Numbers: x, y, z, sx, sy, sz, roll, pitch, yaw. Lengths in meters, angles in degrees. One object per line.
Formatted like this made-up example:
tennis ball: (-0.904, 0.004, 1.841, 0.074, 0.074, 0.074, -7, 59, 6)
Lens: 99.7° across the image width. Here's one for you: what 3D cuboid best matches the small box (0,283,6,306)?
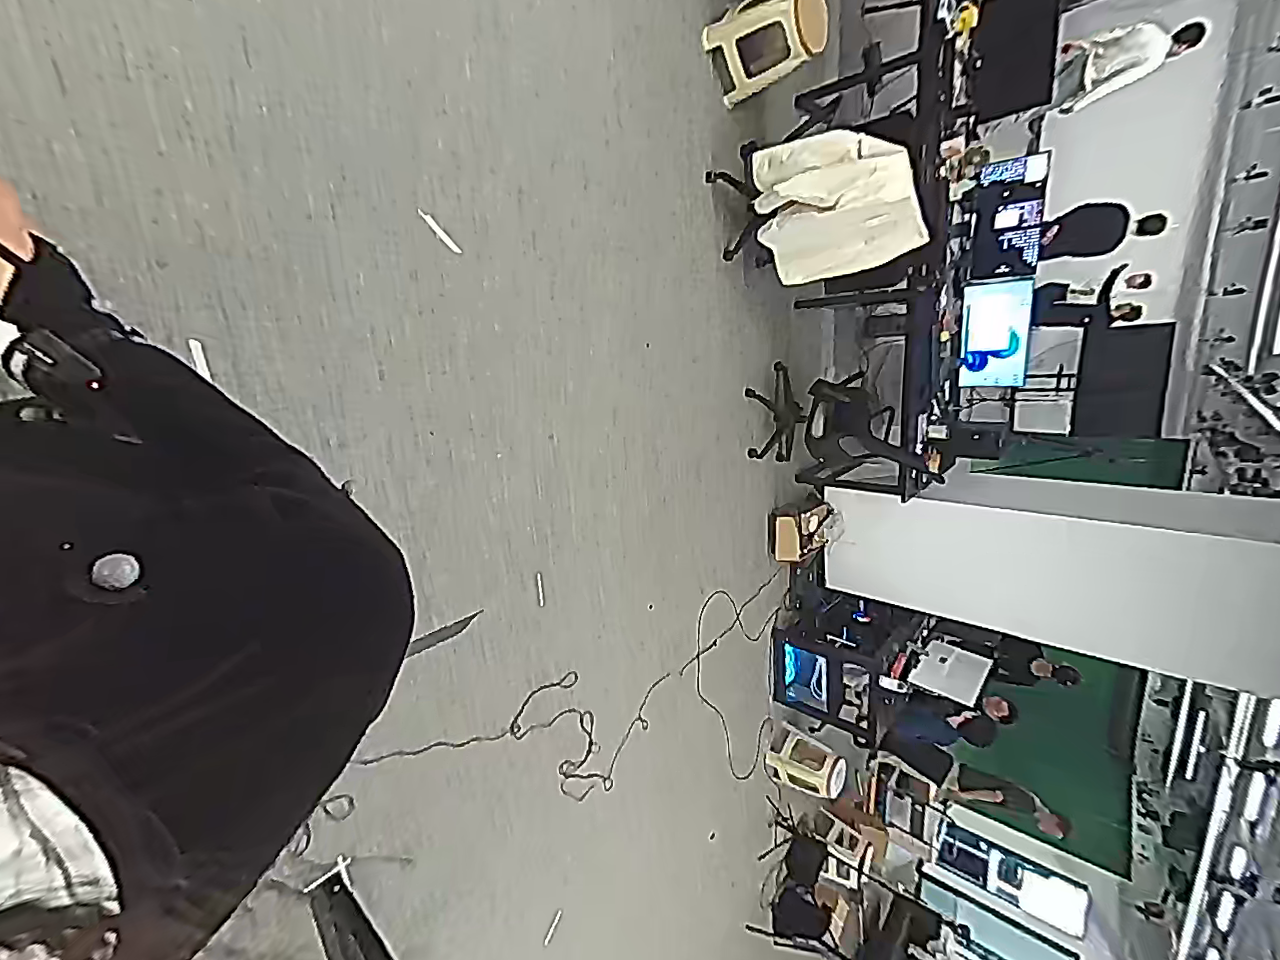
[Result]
small box: (-0.815, -0.273, 0.561, 0.168, 0.176, 0.179, -22, 112, -43)
